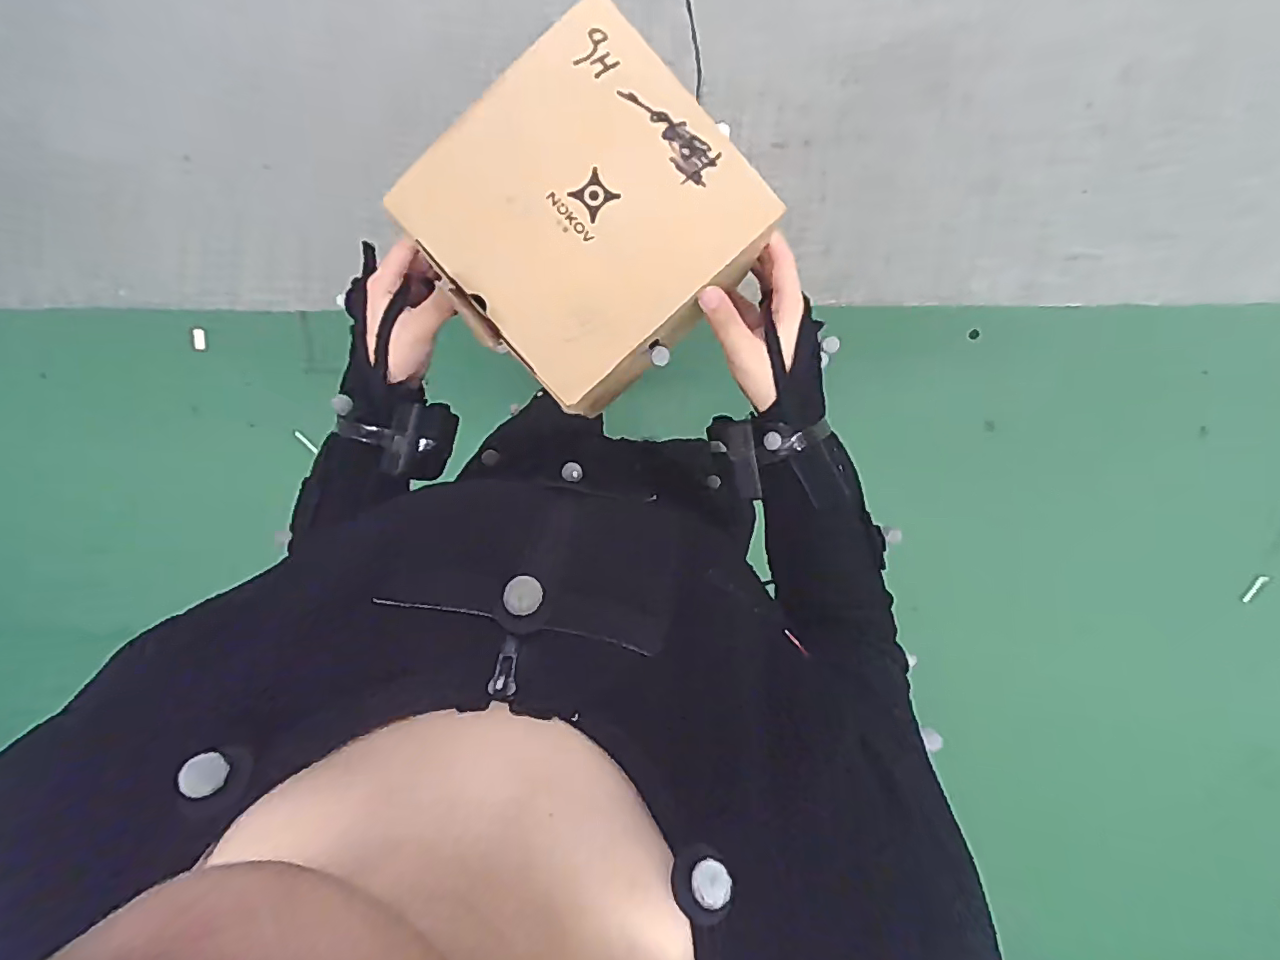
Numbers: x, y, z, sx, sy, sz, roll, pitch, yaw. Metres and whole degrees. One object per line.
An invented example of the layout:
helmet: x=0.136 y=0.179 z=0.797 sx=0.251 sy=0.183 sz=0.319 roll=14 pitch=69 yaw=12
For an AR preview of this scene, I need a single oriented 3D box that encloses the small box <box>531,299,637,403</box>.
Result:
small box: x=-0.131 y=-0.295 z=1.246 sx=0.179 sy=0.176 sz=0.168 roll=40 pitch=105 yaw=-1
